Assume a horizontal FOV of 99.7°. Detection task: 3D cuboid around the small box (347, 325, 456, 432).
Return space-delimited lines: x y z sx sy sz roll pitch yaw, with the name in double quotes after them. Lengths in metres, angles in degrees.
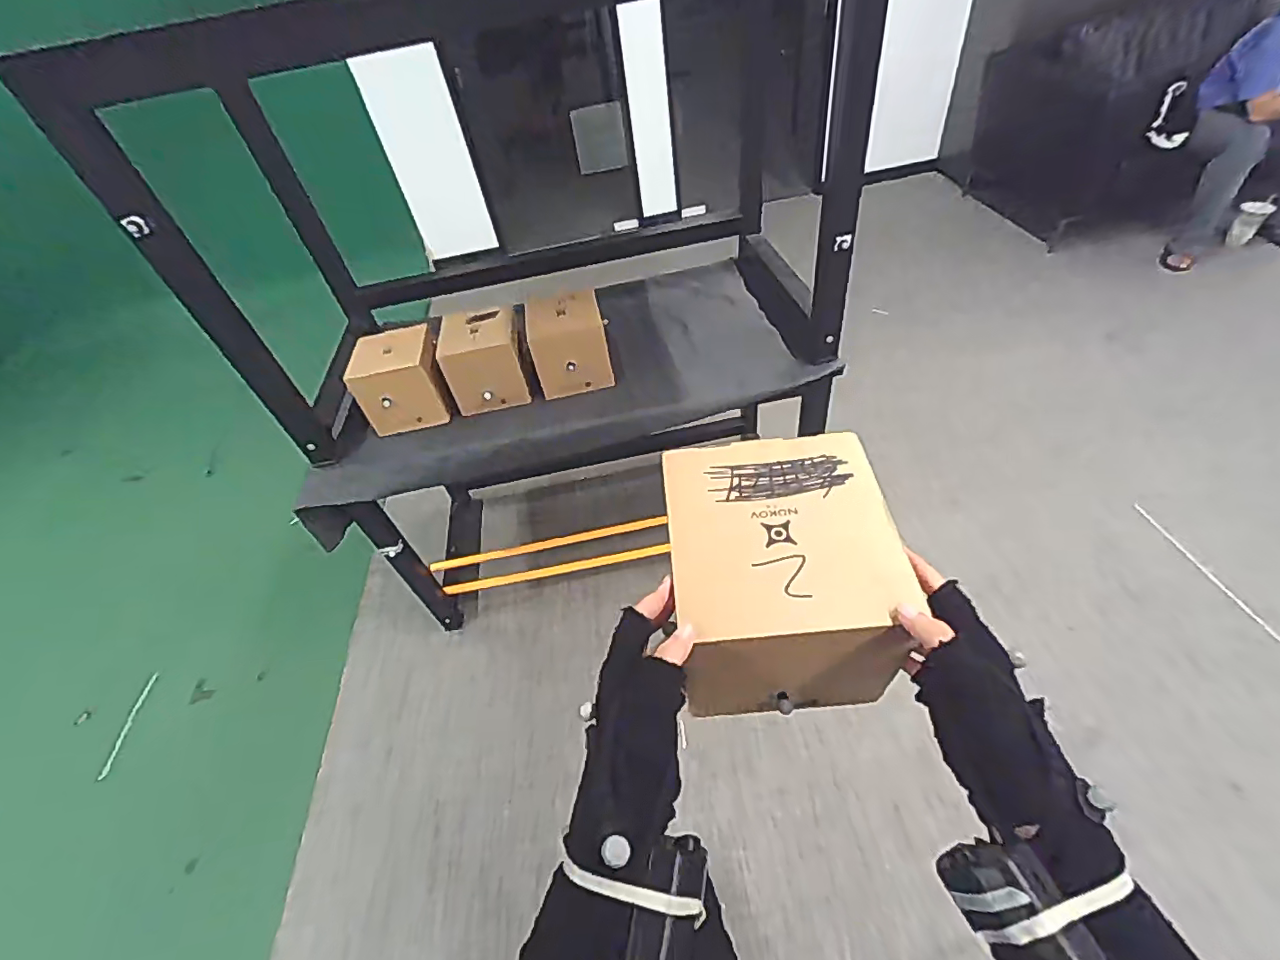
-0.539 -0.227 1.249 0.168 0.176 0.179 -12 45 -2 "small box"
